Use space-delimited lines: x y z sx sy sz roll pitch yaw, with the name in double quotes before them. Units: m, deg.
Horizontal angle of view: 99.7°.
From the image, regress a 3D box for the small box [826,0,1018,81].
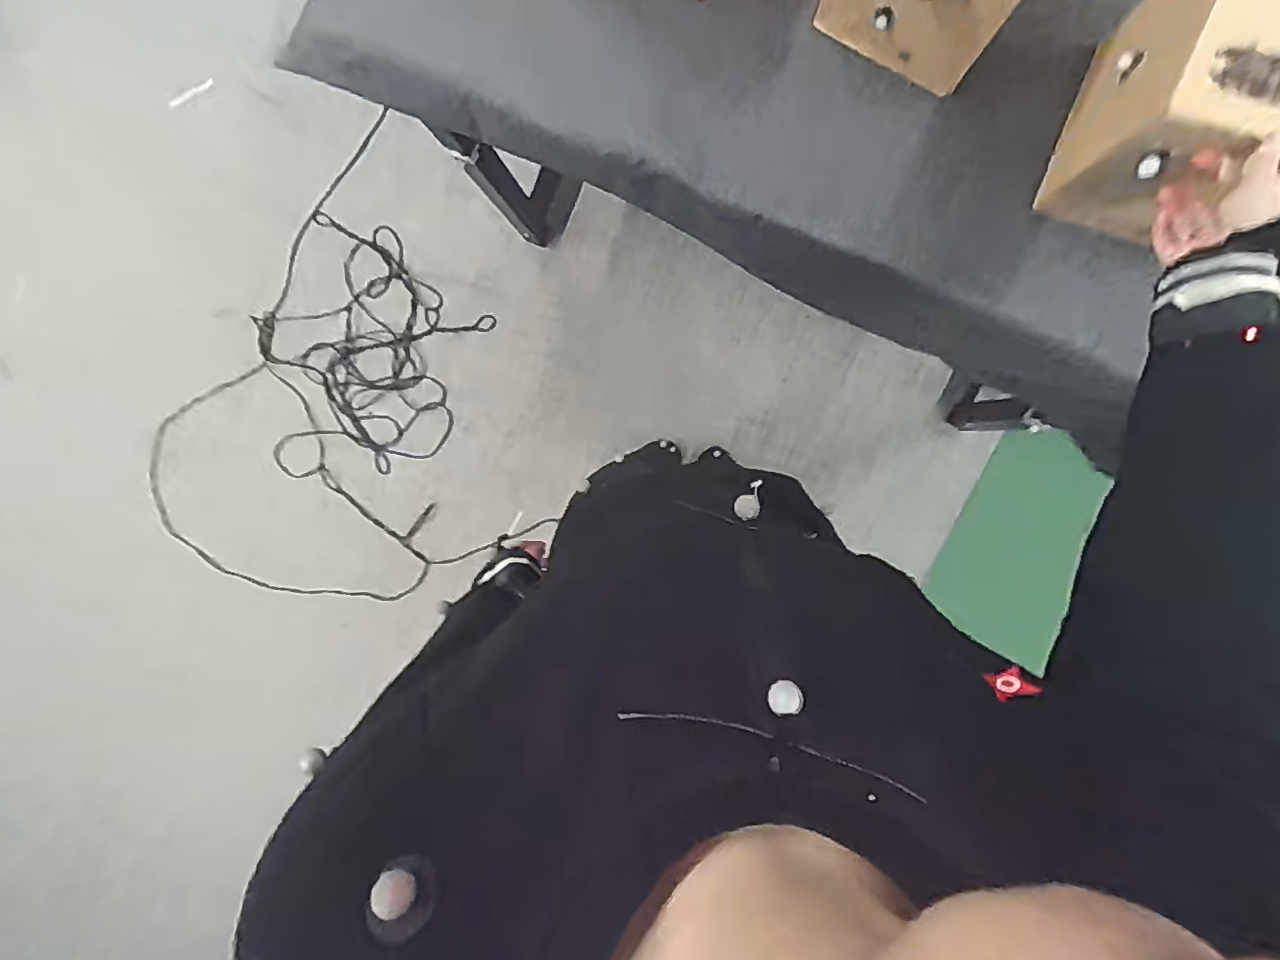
"small box" 0.289 -0.515 0.473 0.168 0.176 0.179 30 97 1
